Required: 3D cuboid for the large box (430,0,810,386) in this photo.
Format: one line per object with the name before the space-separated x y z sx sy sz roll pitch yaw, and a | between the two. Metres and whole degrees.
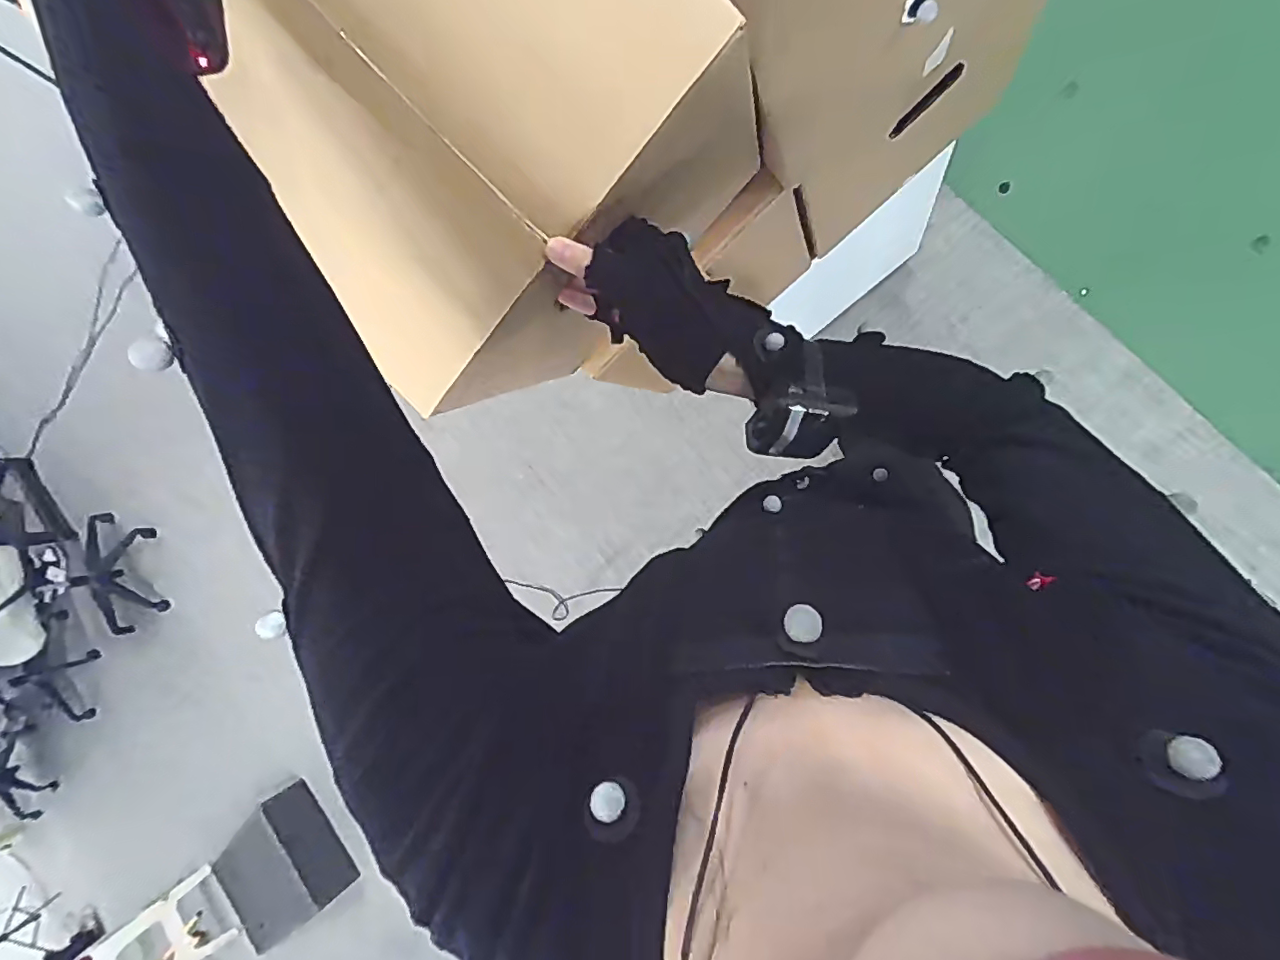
large box | -0.011 -0.395 0.797 0.320 0.320 0.408 -41 78 19
